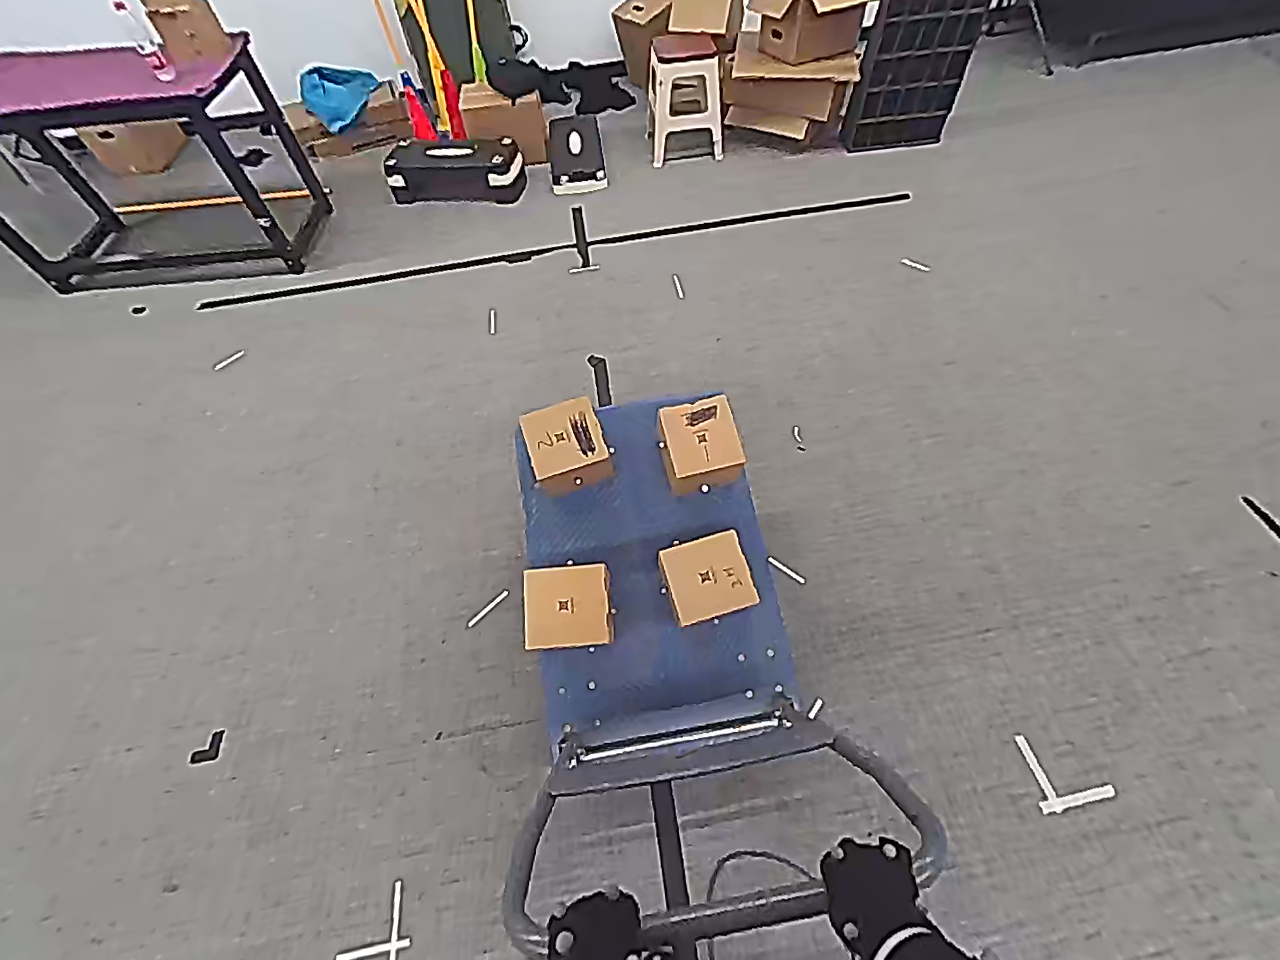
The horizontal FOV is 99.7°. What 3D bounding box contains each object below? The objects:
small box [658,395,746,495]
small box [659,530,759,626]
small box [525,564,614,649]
[{"bbox_3d":[0.142,-0.080,1.316,0.168,0.176,0.179,-13,74,-3],"label":"small box"},{"bbox_3d":[0.148,0.228,1.223,0.179,0.176,0.168,-16,74,-4],"label":"small box"},{"bbox_3d":[-0.154,0.288,1.210,0.179,0.176,0.168,-5,73,-2],"label":"small box"}]
